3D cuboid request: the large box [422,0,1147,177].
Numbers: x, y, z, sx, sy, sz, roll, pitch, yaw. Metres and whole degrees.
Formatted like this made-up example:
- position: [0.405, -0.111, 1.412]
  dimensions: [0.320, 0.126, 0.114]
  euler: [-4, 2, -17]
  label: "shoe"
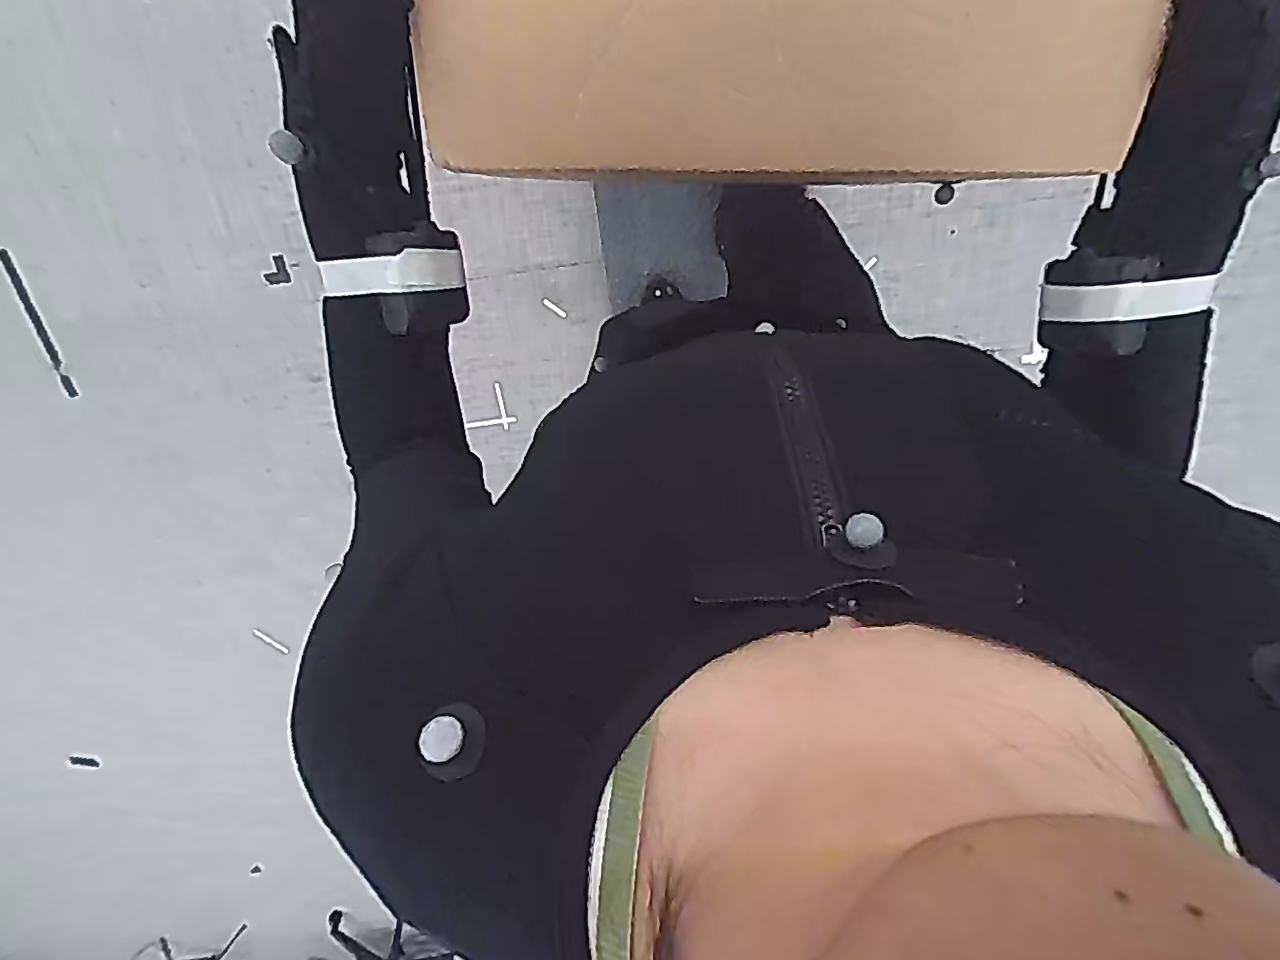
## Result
- position: [0.079, -0.396, 0.388]
  dimensions: [0.408, 0.320, 0.320]
  euler: [0, 117, -2]
  label: "large box"
